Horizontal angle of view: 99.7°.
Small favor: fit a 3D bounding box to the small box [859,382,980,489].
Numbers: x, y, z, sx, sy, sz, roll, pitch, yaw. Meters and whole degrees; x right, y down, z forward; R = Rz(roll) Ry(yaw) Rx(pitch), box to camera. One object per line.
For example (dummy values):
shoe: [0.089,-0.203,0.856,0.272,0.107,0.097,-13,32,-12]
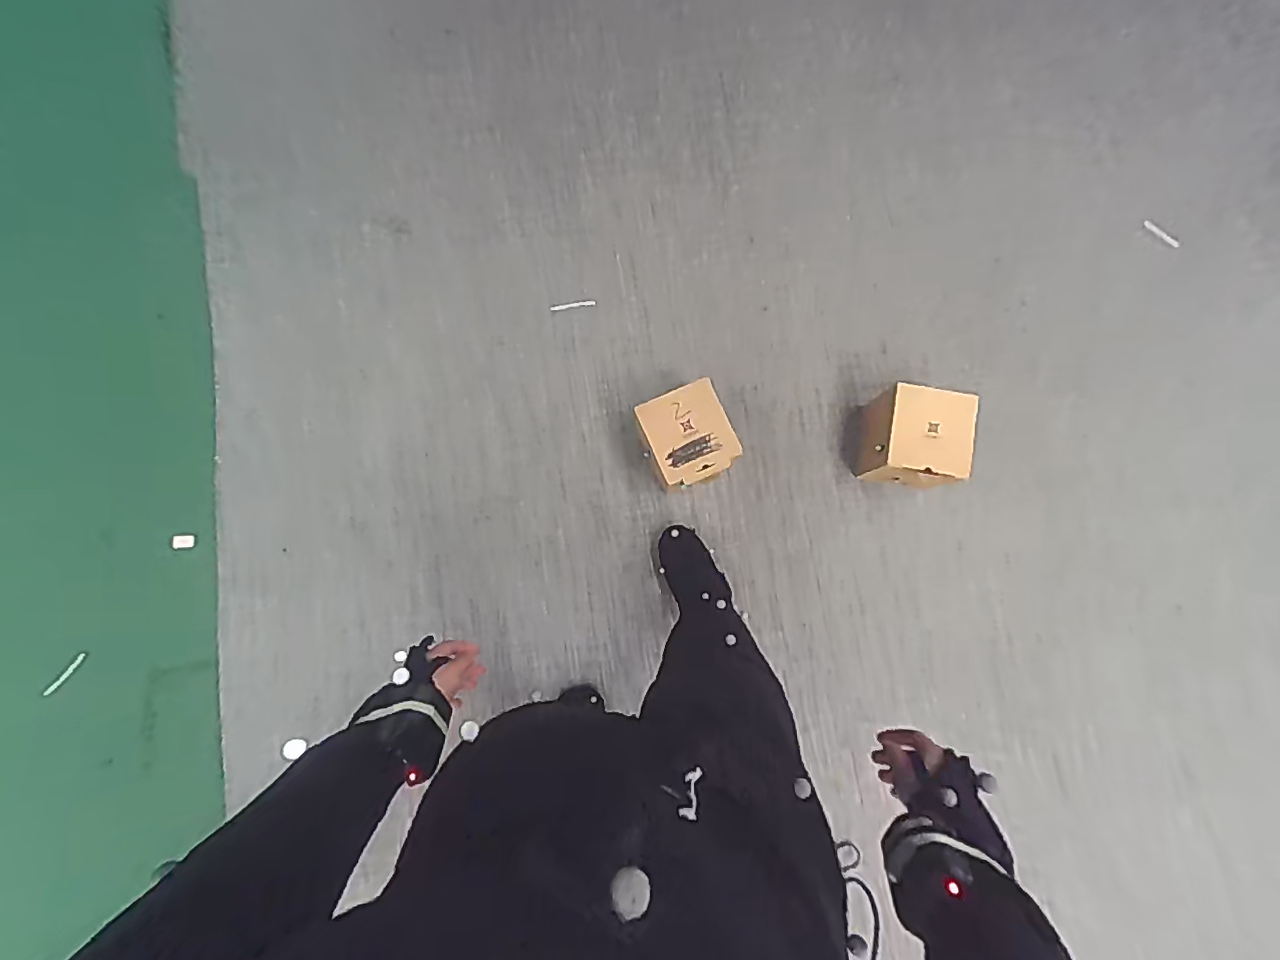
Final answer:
small box: [0.583,-0.087,1.148,0.168,0.176,0.179,10,83,2]
